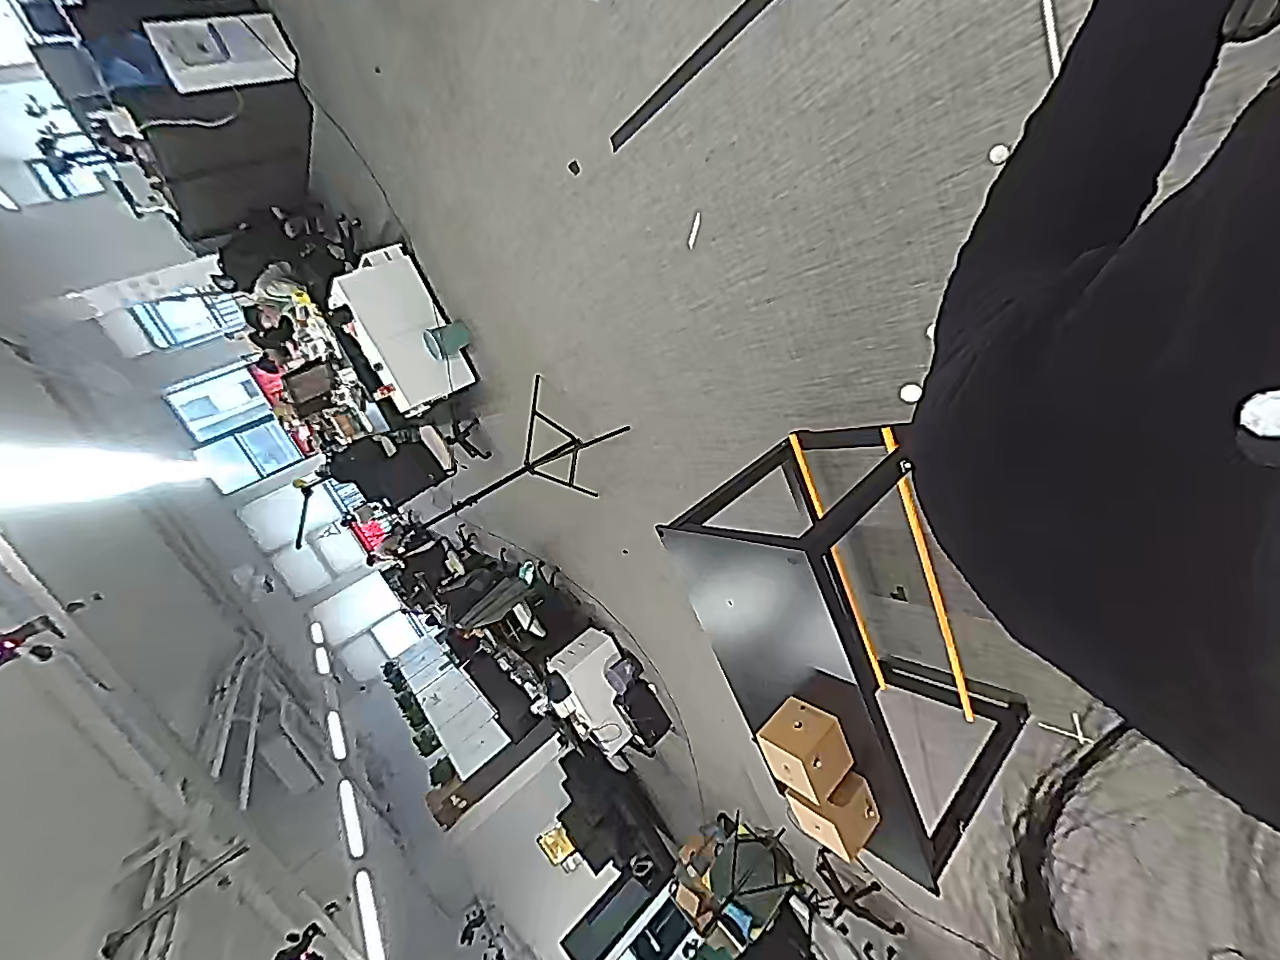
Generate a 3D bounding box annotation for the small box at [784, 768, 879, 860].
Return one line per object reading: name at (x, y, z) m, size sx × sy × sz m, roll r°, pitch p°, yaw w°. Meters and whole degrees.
small box at (0.563, 0.947, 1.585) m, size 0.179 × 0.176 × 0.168 m, roll 1°, pitch 122°, yaw 57°

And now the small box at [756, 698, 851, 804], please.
small box at (0.466, 0.757, 1.533) m, size 0.168 × 0.176 × 0.179 m, roll 5°, pitch 124°, yaw 57°
